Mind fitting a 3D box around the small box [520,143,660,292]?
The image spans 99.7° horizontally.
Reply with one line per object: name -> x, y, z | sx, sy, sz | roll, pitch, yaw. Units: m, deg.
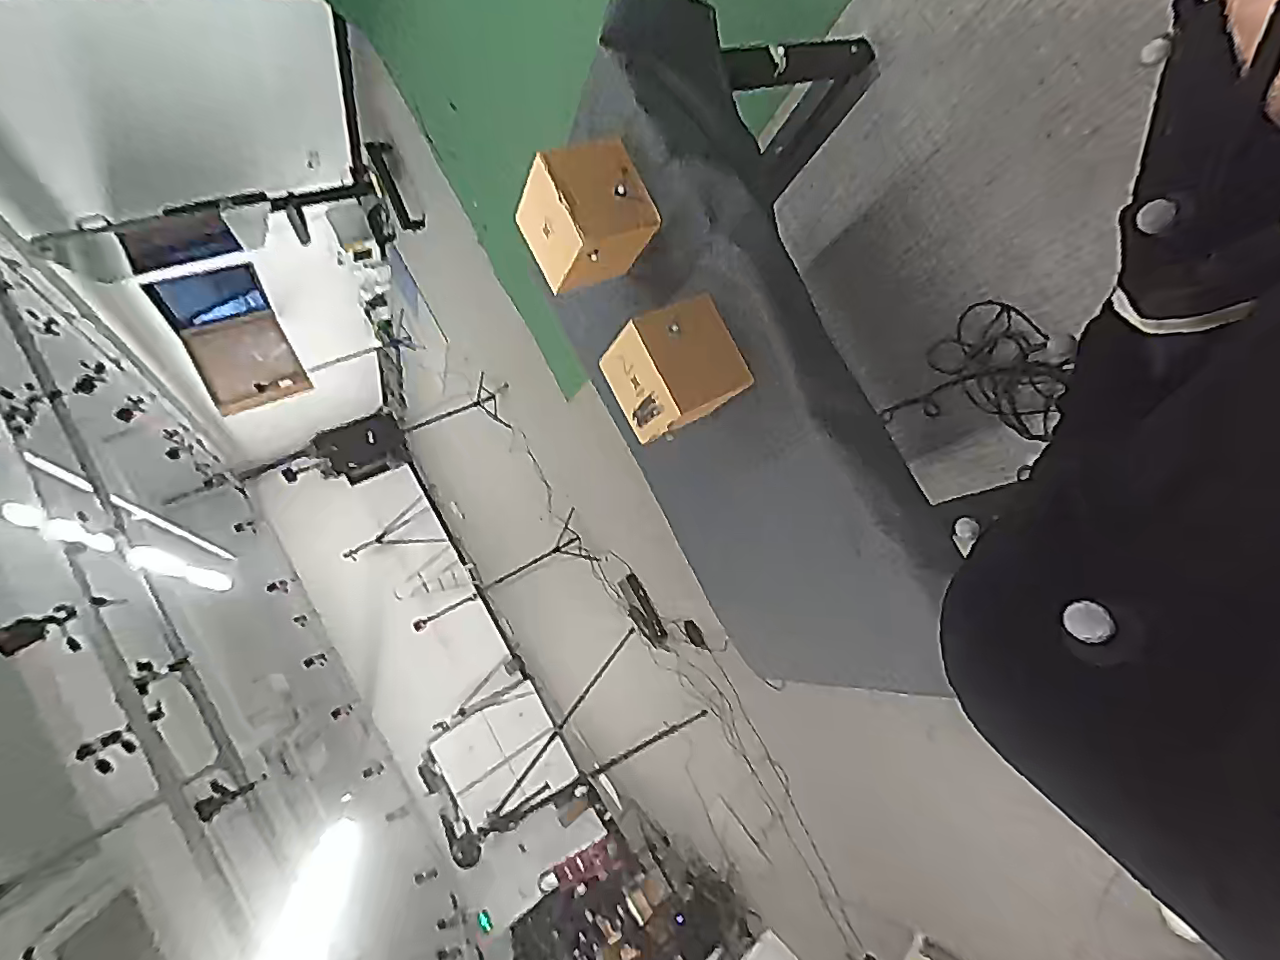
small box -> -0.092, -0.473, 0.982 | 0.168, 0.176, 0.179 | 62, 153, -1
